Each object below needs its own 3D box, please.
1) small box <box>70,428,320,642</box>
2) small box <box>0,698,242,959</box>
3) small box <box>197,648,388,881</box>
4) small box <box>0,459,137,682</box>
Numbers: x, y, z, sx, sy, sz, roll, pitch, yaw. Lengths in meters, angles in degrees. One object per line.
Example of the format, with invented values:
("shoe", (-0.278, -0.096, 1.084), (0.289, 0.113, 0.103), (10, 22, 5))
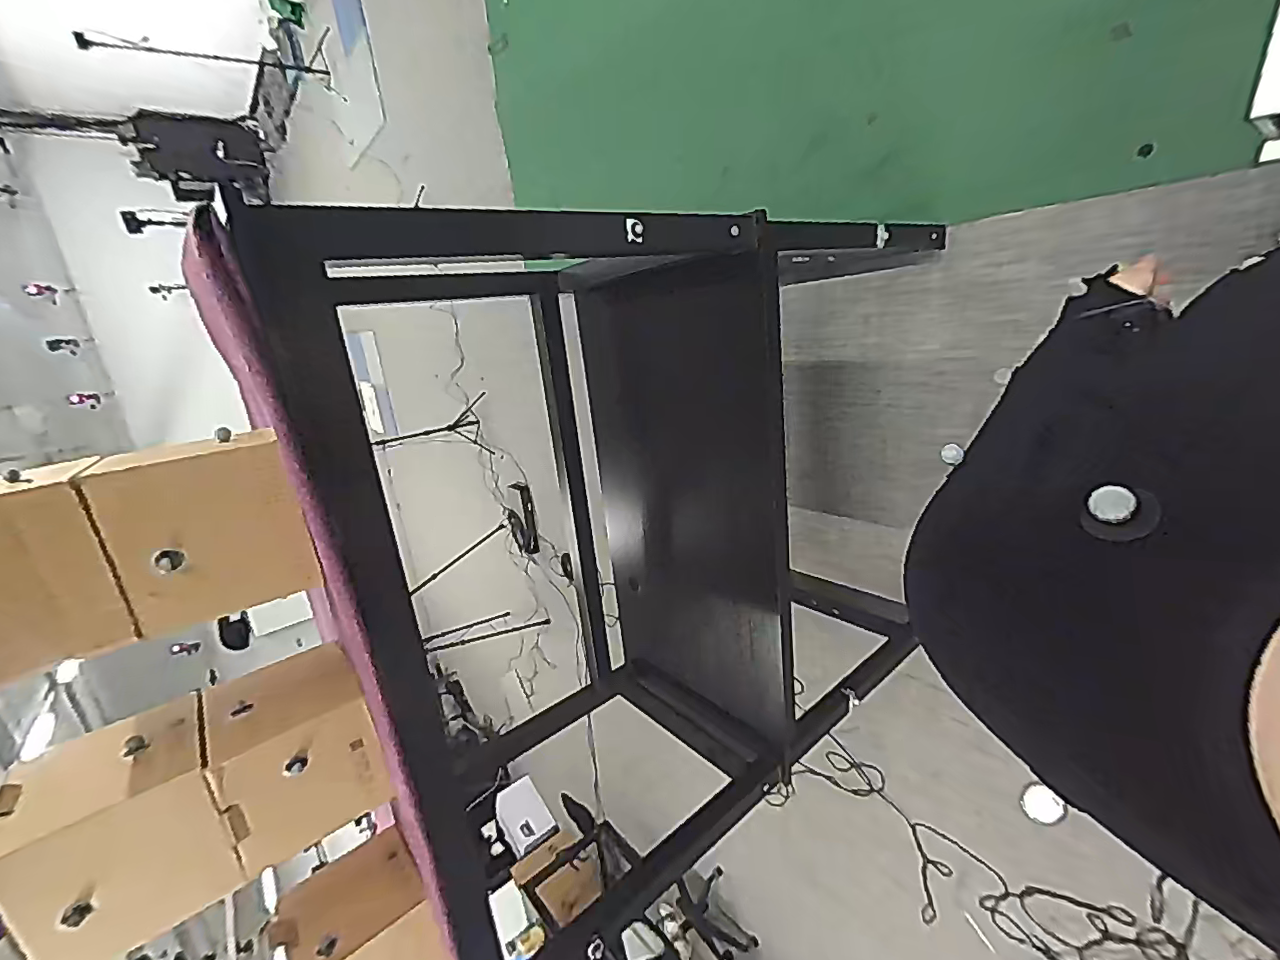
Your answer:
("small box", (-0.487, 0.047, 0.621), (0.168, 0.176, 0.179), (14, 116, 52))
("small box", (-0.571, 0.388, 0.606), (0.168, 0.176, 0.179), (16, 116, 48))
("small box", (-0.443, 0.346, 0.701), (0.179, 0.176, 0.168), (16, 116, 50))
("small box", (-0.619, 0.090, 0.536), (0.168, 0.176, 0.179), (15, 116, 52))
